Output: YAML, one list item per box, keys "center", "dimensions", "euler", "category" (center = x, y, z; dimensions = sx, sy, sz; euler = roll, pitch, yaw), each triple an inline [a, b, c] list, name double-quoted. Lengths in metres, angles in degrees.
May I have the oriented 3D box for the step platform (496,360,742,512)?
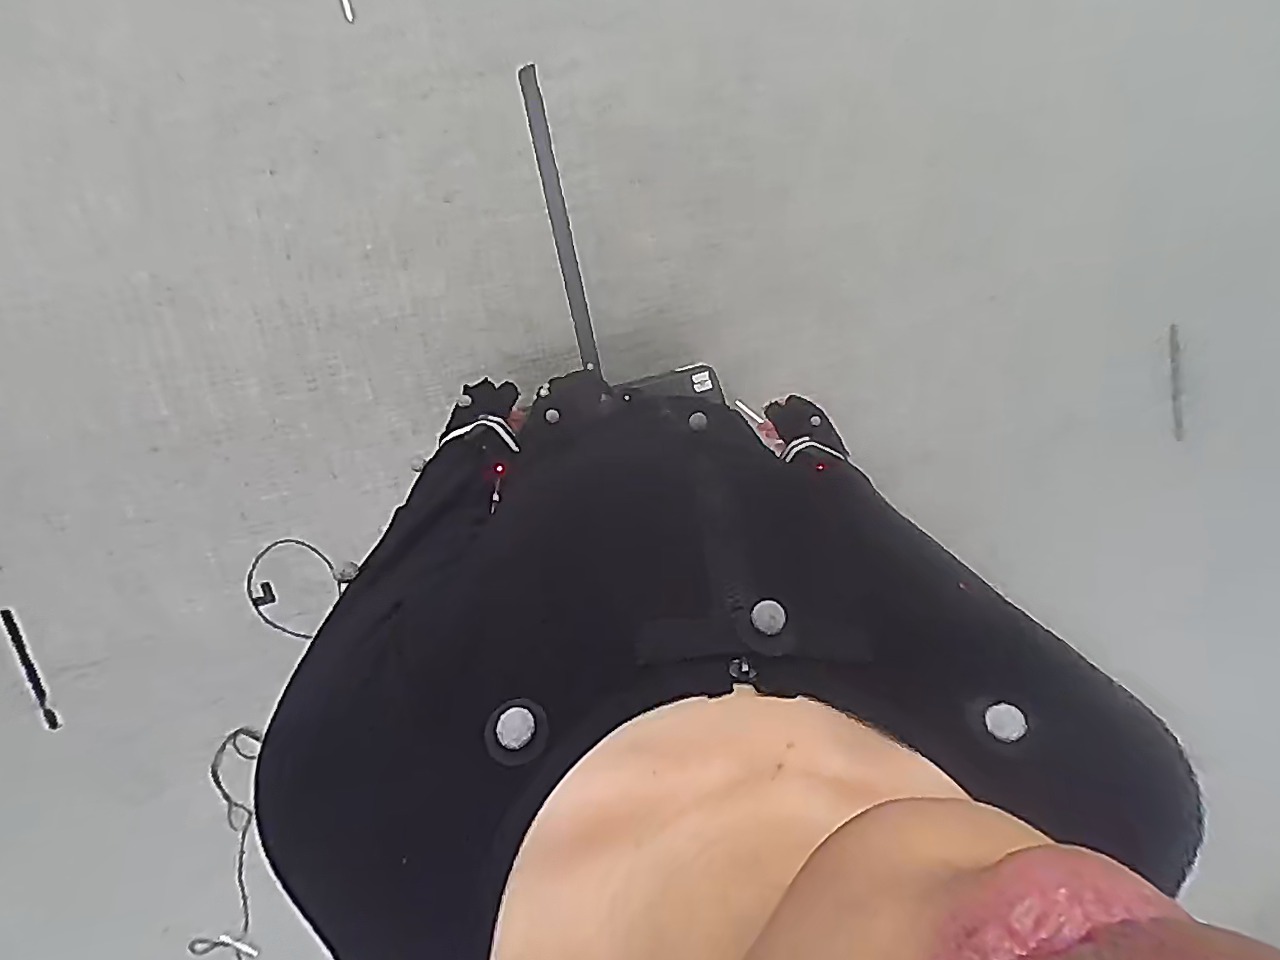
- center: [-0.057, -0.128, 1.551]
  dimensions: [0.684, 0.204, 0.286]
  euler: [-15, 101, -3]
  category: "step platform"
